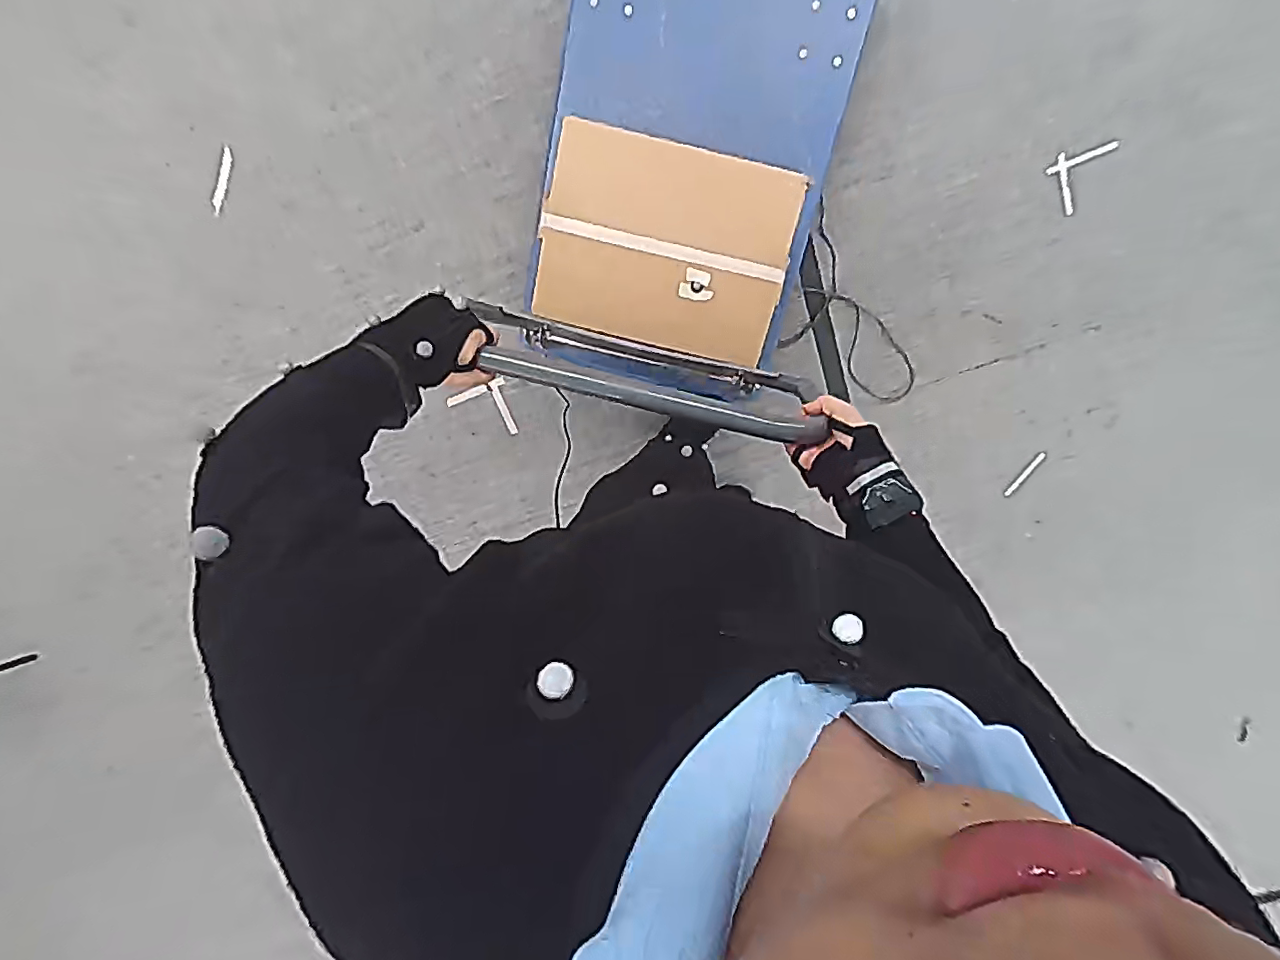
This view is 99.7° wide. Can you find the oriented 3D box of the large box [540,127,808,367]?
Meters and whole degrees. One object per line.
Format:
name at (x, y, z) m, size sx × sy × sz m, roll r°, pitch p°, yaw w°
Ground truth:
large box at (0.051, -0.420, 1.048) m, size 0.408 × 0.320 × 0.320 m, roll 13°, pitch 106°, yaw -2°
